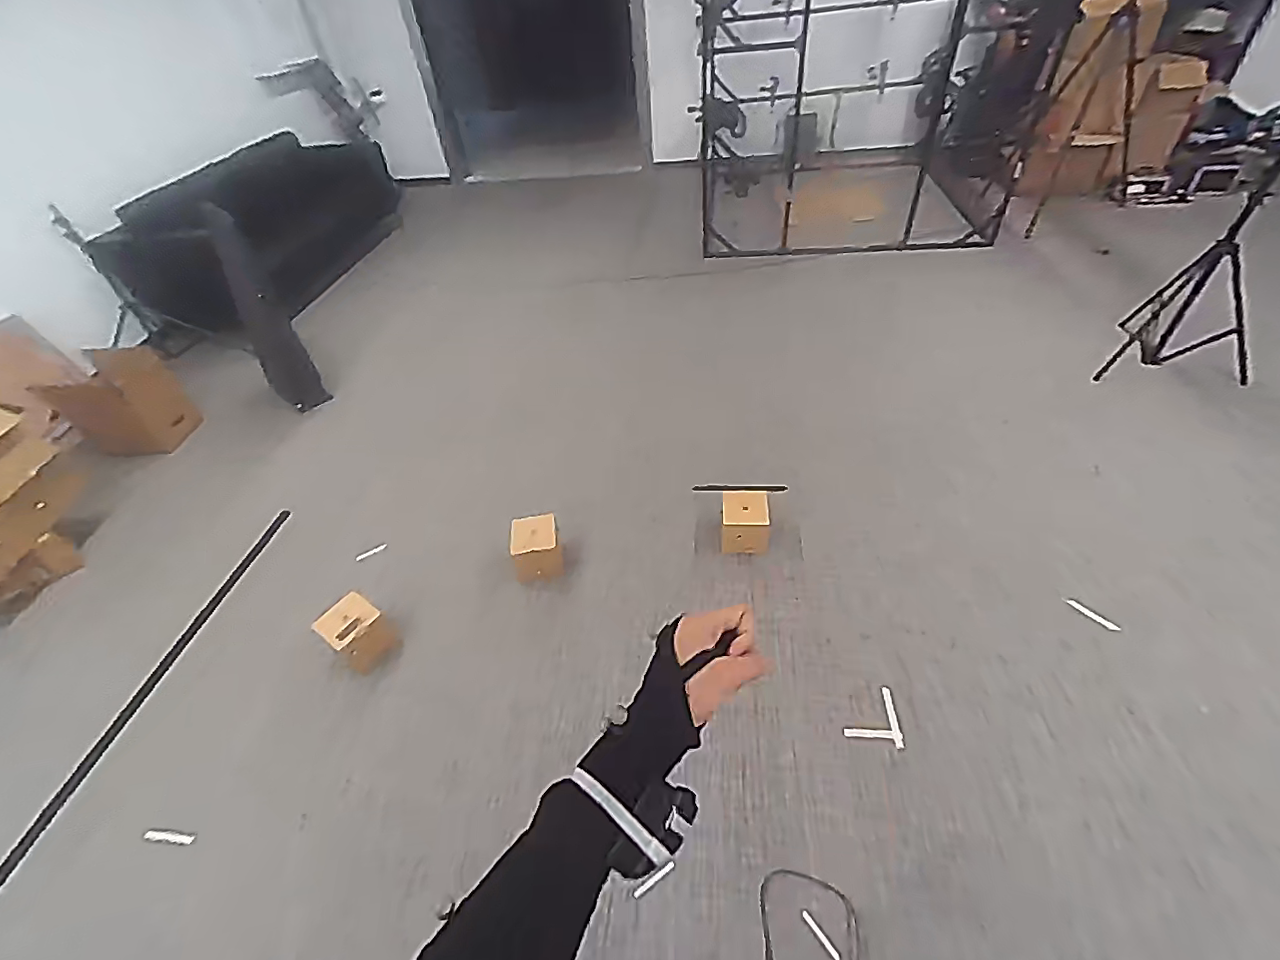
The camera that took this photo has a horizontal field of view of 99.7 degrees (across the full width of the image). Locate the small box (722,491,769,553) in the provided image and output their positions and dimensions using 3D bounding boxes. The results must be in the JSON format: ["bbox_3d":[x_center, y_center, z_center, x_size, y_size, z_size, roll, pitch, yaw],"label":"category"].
[{"bbox_3d":[0.397,0.162,2.050,0.168,0.176,0.179,0,43,7],"label":"small box"}]

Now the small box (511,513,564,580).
[{"bbox_3d":[-0.384,0.254,2.048,0.168,0.176,0.179,-9,44,-2],"label":"small box"}]
